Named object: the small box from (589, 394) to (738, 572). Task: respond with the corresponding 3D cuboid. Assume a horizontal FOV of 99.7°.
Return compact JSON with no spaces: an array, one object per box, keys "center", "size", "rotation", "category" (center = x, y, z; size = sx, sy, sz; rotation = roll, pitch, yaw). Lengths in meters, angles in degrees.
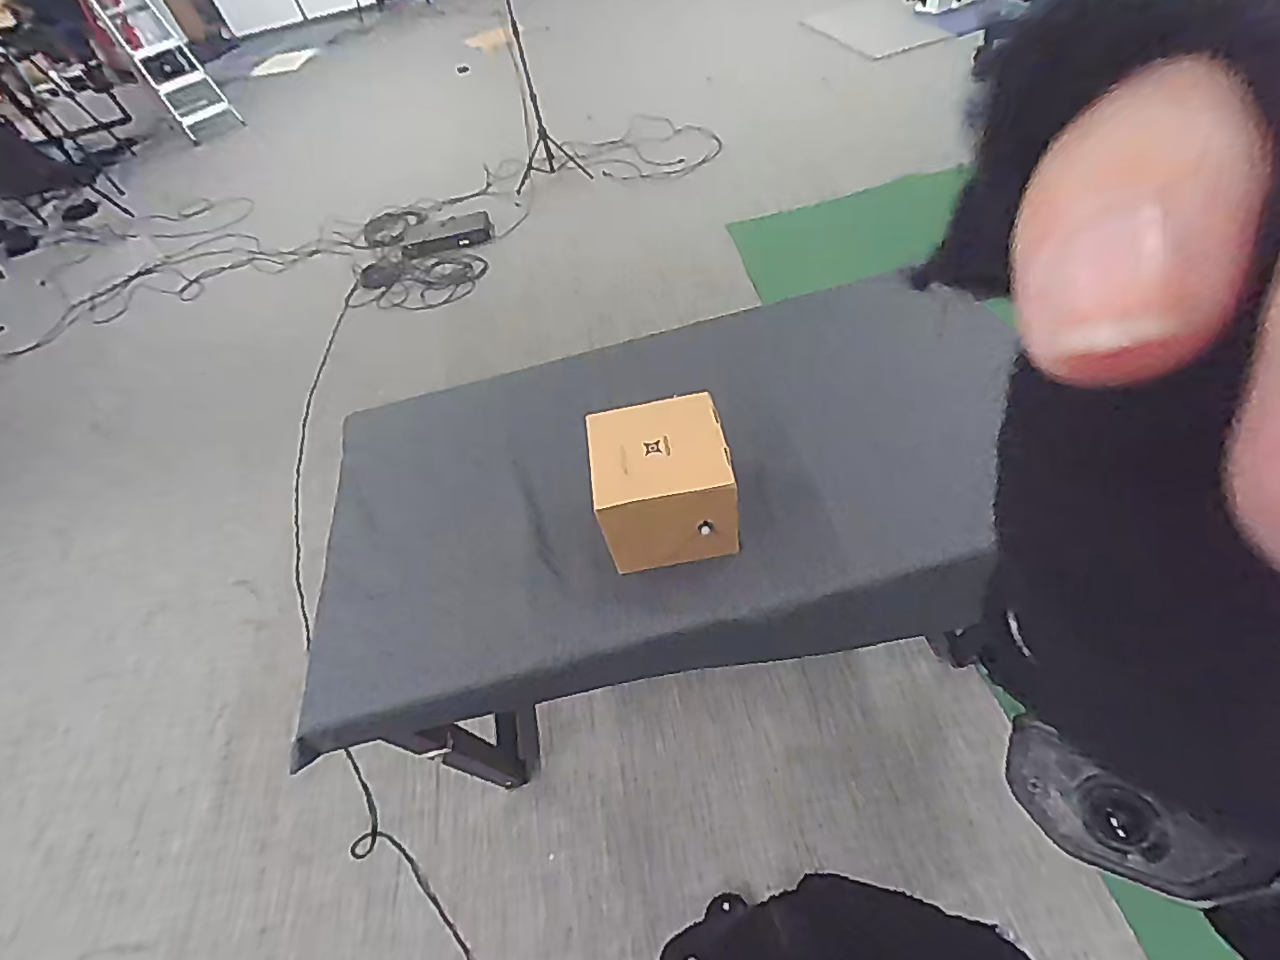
[{"center":[0.035,0.009,0.762],"size":[0.179,0.176,0.168],"rotation":[-12,51,3],"category":"small box"}]
